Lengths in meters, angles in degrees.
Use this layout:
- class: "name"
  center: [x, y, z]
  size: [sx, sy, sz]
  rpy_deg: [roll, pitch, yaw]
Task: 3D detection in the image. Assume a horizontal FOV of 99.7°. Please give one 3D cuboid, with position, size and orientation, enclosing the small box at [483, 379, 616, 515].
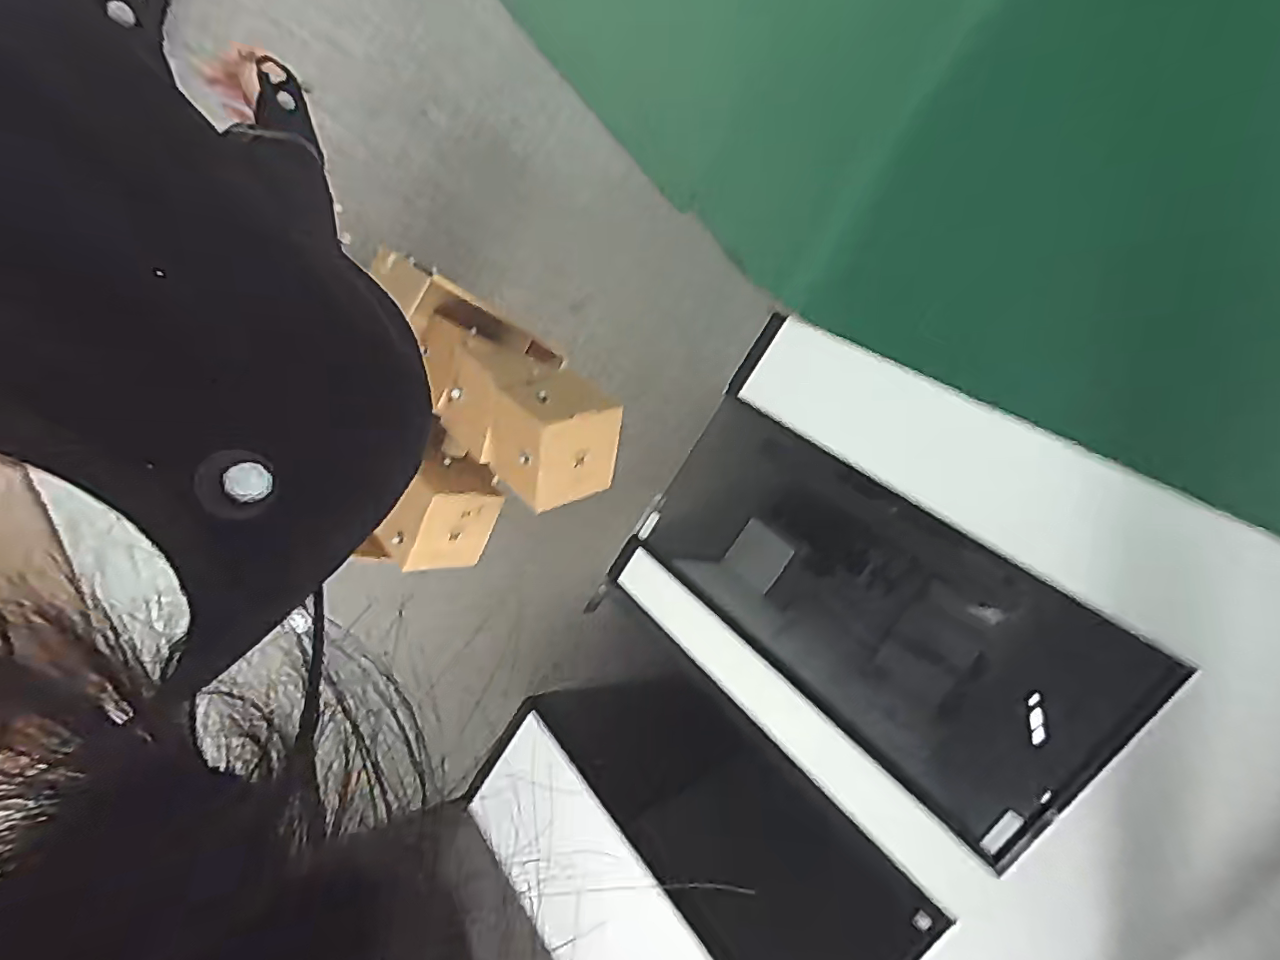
- class: "small box"
  center: [-0.168, -0.071, 0.971]
  size: [0.168, 0.176, 0.179]
  rpy_deg: [-19, 135, -39]

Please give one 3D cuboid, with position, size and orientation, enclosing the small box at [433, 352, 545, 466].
- class: "small box"
  center: [-0.278, -0.141, 1.069]
  size: [0.179, 0.176, 0.168]
  rpy_deg: [-4, 124, -48]

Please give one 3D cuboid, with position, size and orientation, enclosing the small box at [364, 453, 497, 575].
- class: "small box"
  center: [-0.426, 0.067, 1.086]
  size: [0.168, 0.176, 0.179]
  rpy_deg: [6, 115, -55]
